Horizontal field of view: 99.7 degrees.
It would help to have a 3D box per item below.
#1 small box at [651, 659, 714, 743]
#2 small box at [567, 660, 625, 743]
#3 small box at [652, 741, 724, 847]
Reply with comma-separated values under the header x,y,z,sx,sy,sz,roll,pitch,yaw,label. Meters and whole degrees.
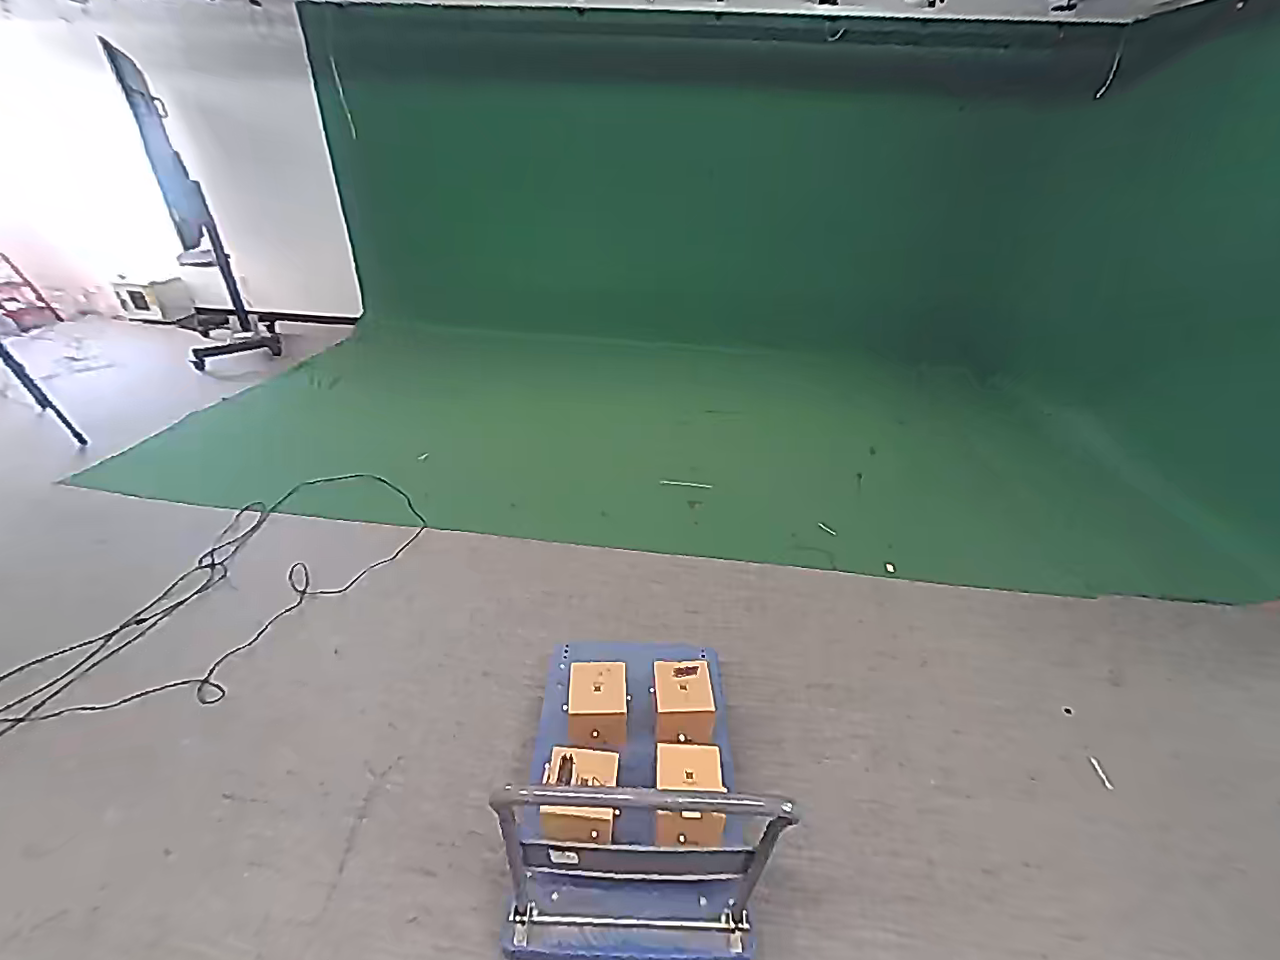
x,y,z,sx,sy,sz,roll,pitch,yaw,label
0.123,0.665,1.631,0.168,0.176,0.179,0,34,-3,small box
-0.128,0.664,1.613,0.168,0.176,0.179,1,33,-4,small box
0.119,0.813,1.404,0.168,0.176,0.179,3,33,0,small box
